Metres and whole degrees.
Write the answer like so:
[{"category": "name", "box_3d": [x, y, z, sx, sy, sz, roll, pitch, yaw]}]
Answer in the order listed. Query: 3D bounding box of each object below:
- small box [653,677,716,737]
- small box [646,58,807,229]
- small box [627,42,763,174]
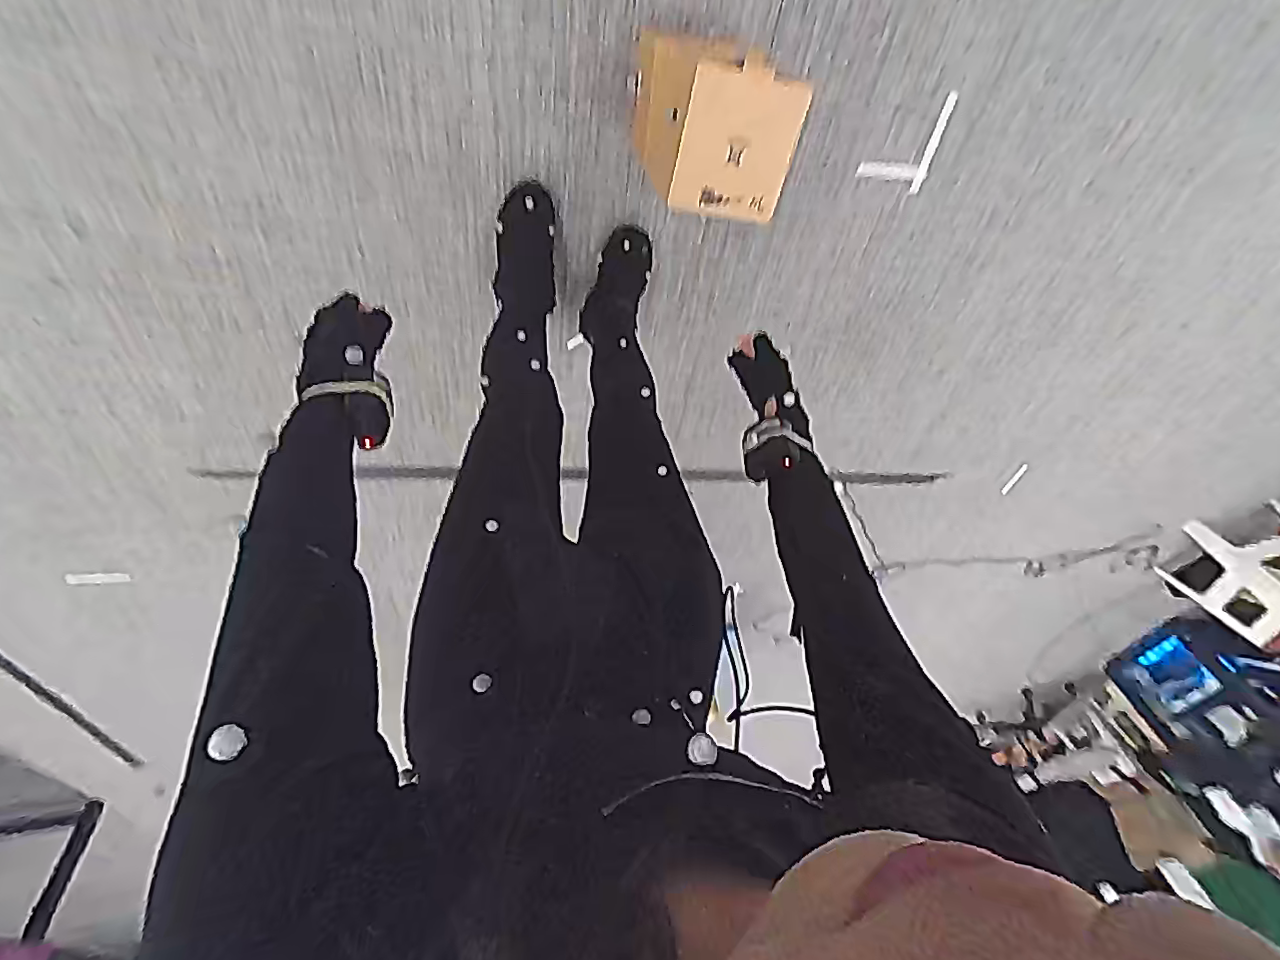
[{"category": "small box", "box_3d": [0.167, 0.879, 2.097, 0.179, 0.176, 0.168, 9, 130, -18]}, {"category": "small box", "box_3d": [0.114, -0.503, 0.807, 0.168, 0.176, 0.179, 3, 131, -15]}, {"category": "small box", "box_3d": [0.081, -0.624, 0.914, 0.179, 0.176, 0.168, -2, 132, -10]}]
